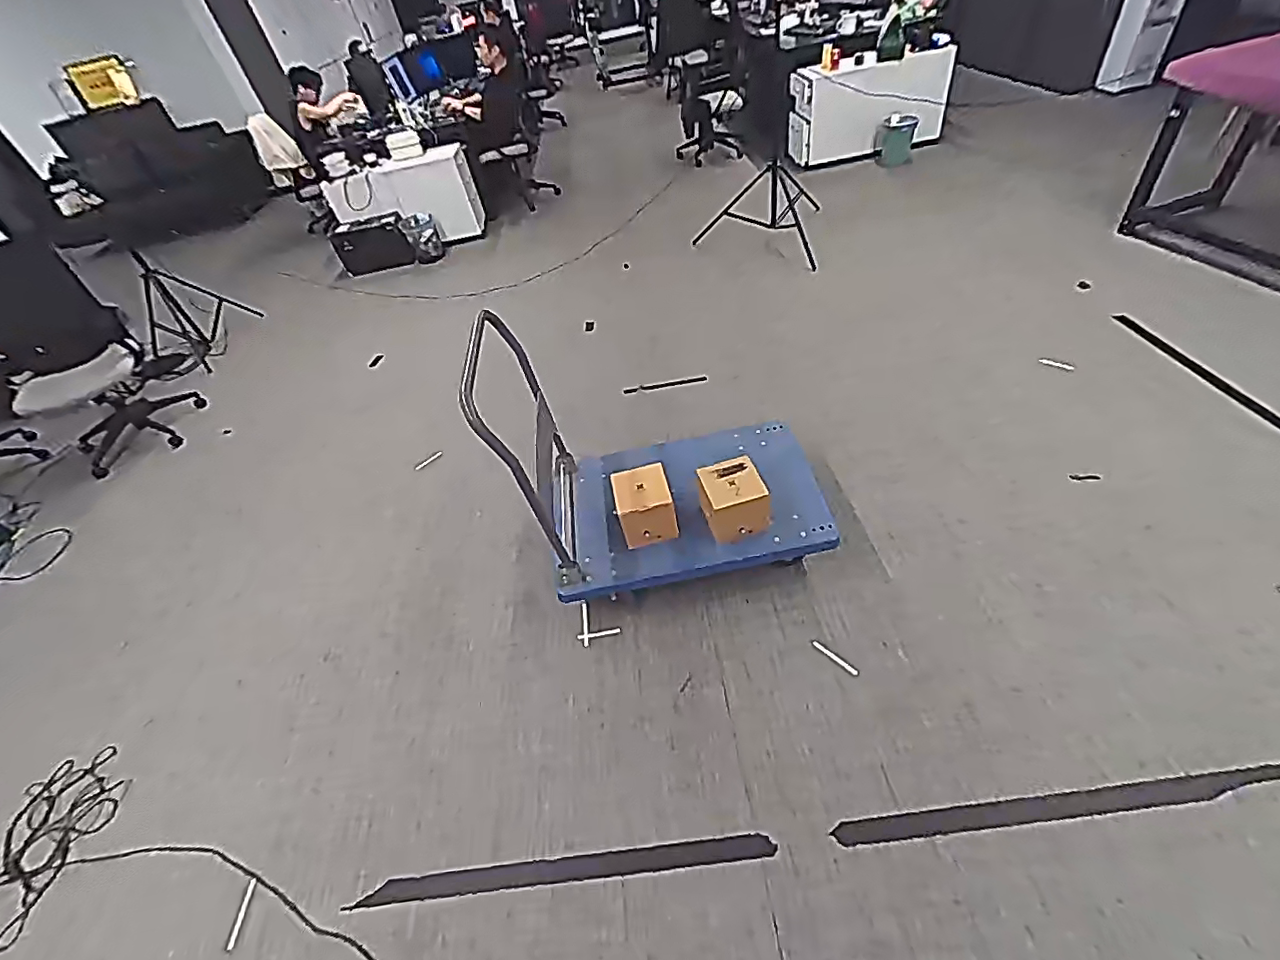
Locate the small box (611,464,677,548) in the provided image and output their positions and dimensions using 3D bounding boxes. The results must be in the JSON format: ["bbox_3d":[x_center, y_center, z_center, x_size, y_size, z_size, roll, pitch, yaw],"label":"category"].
[{"bbox_3d":[0.013,0.082,1.682,0.168,0.176,0.179,-14,45,-1],"label":"small box"}]
